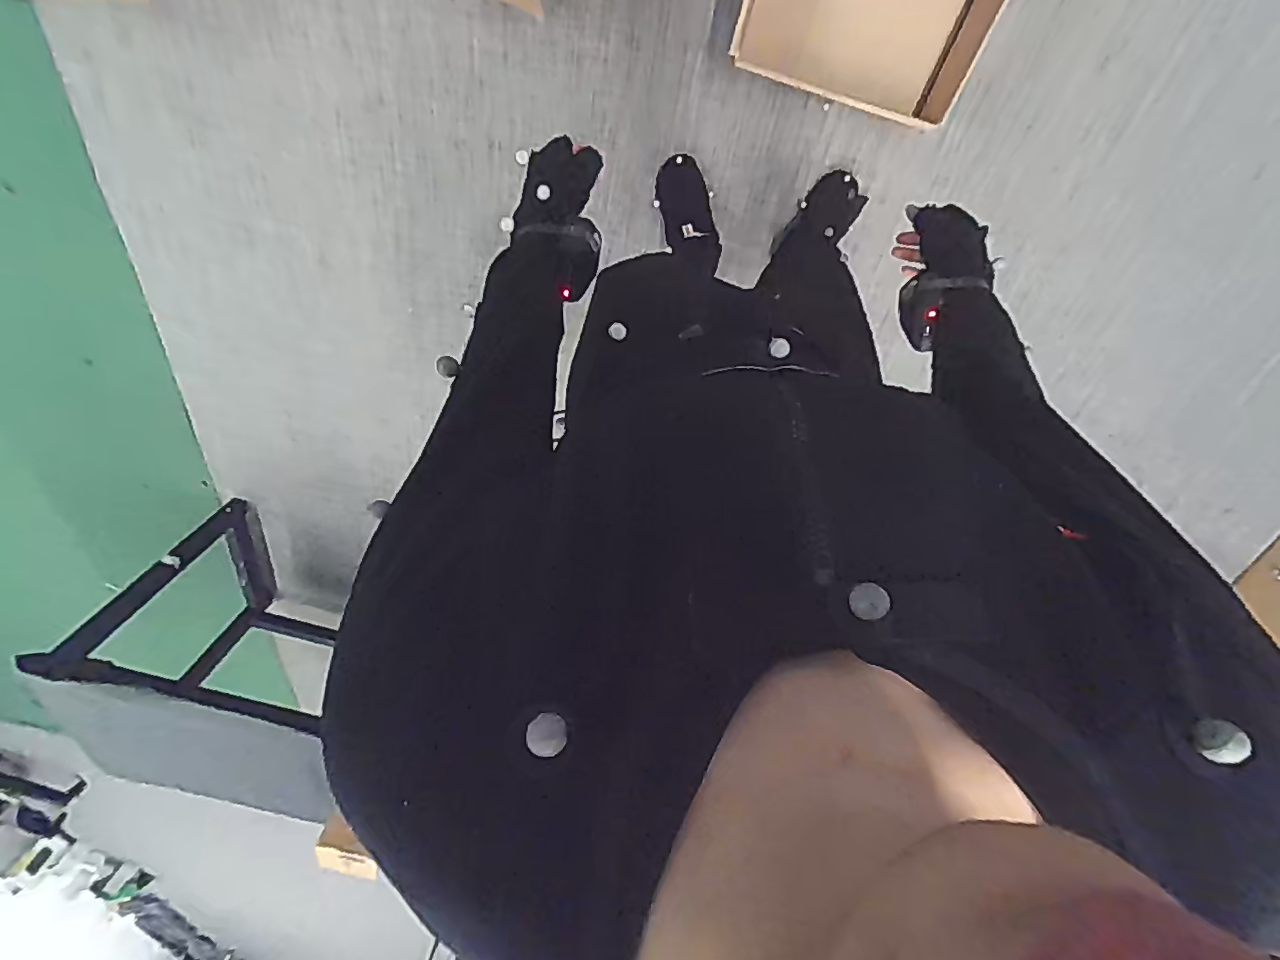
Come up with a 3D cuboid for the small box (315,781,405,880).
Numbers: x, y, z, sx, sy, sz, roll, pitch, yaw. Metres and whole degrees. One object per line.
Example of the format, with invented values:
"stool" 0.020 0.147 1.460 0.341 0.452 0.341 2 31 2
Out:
"small box" -0.770 0.969 1.500 0.168 0.176 0.179 19 127 -4
